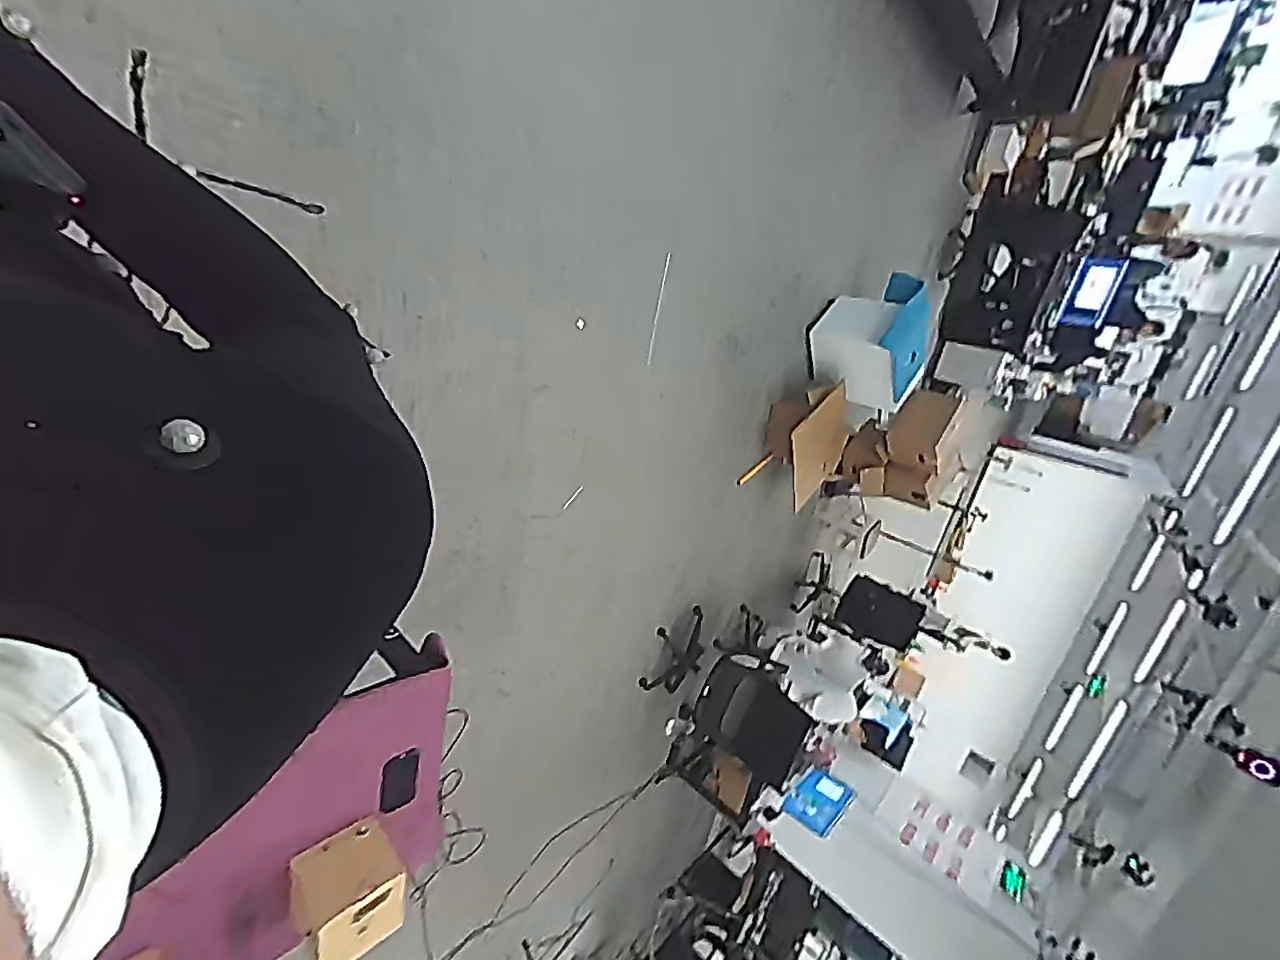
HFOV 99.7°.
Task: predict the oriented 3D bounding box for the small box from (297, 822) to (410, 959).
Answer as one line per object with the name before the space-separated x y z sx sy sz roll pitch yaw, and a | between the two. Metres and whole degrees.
small box | -0.605 0.866 1.139 0.168 0.176 0.179 -10 118 -46
